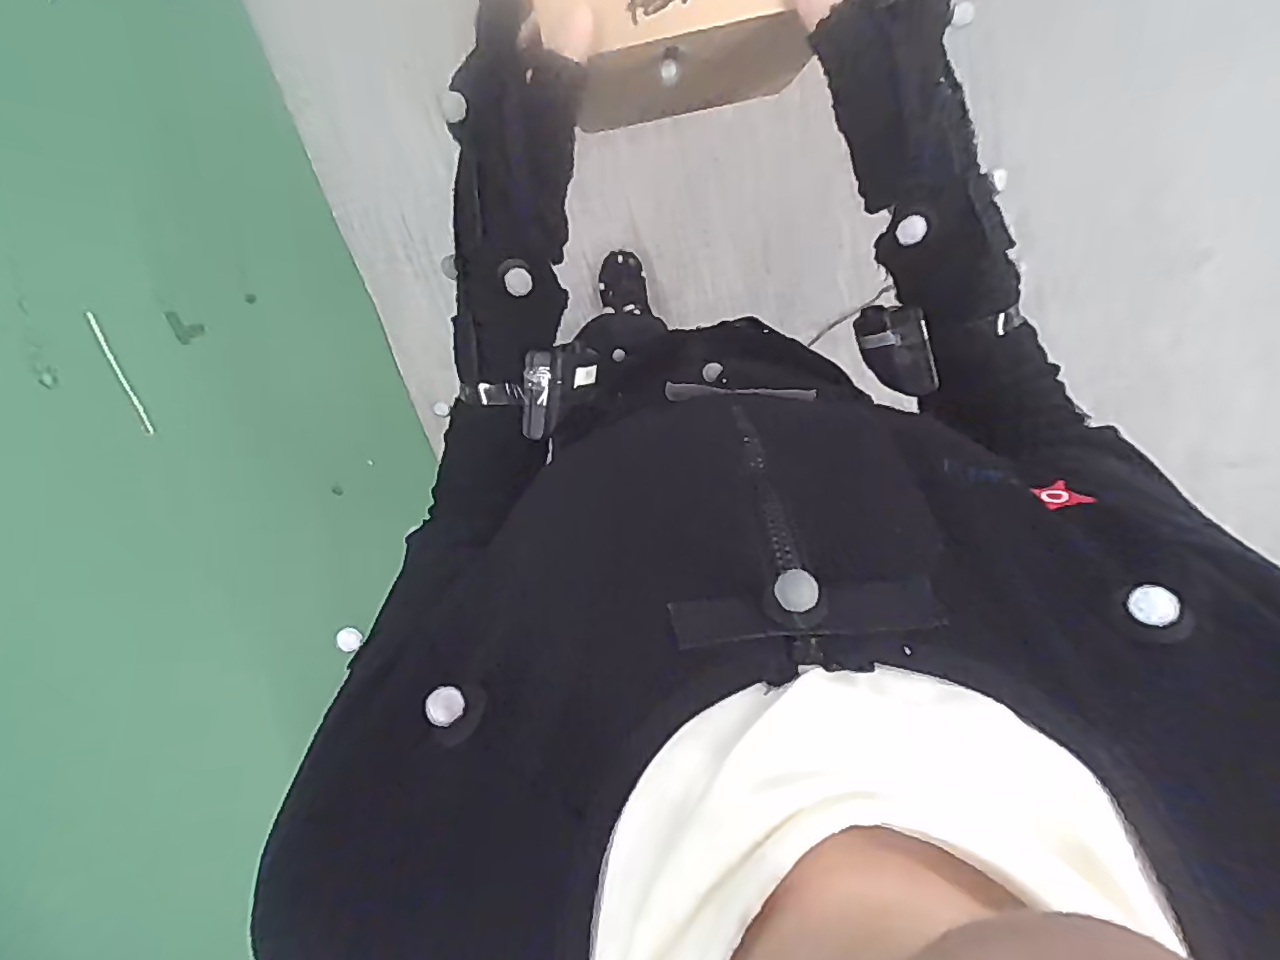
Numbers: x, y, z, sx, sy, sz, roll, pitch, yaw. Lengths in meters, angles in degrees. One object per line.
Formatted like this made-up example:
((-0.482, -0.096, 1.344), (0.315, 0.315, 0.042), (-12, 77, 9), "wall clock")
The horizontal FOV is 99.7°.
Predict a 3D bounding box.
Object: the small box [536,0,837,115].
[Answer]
((0.017, -0.350, 0.318), (0.168, 0.176, 0.179), (-9, 112, 5), "small box")
